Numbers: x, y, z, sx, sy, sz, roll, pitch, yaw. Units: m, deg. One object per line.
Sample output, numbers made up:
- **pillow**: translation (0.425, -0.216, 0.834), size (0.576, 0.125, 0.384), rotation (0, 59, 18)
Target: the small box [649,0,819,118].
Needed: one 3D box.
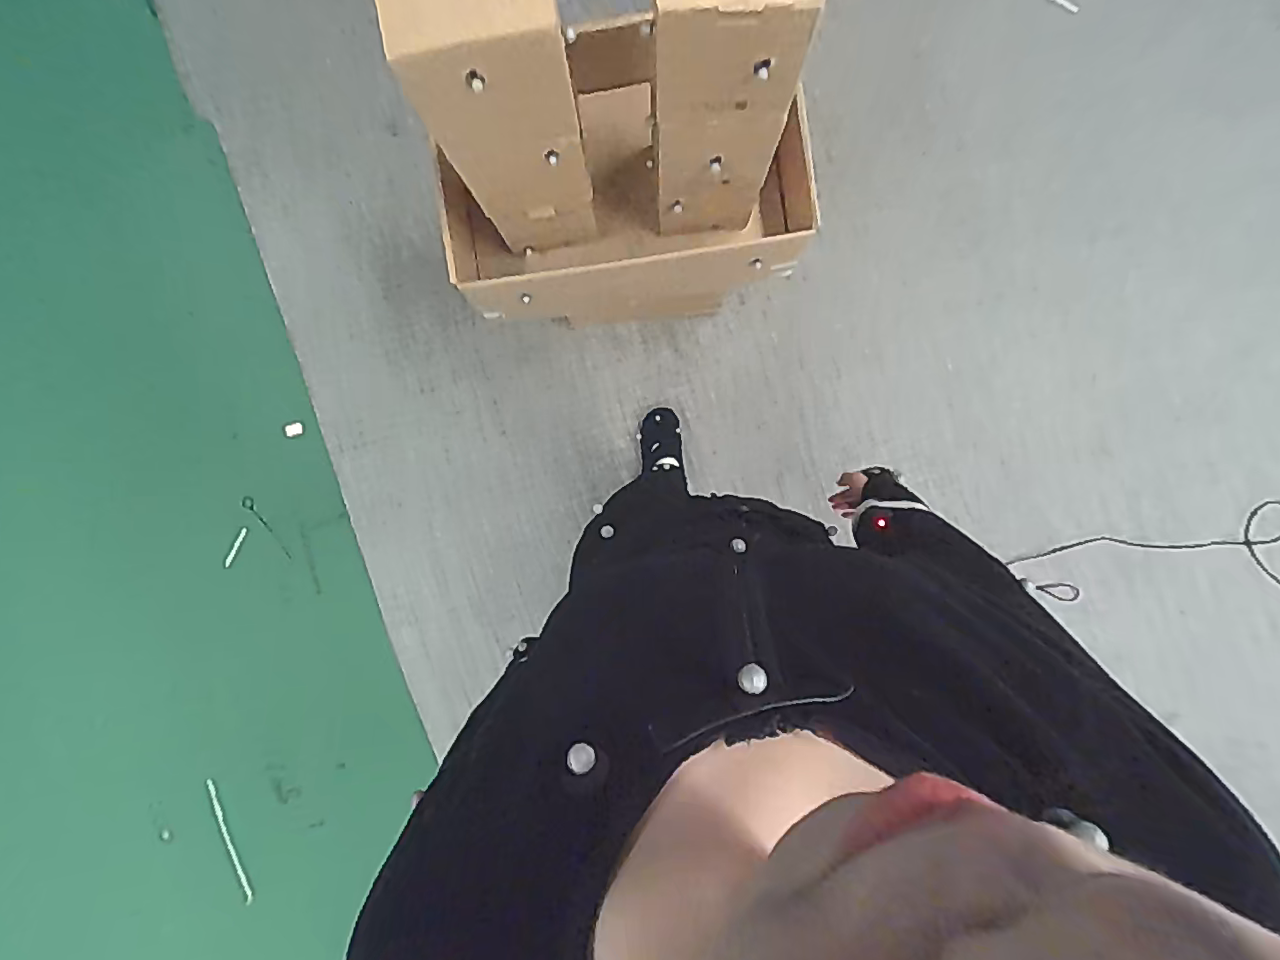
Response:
- **small box**: translation (0.094, -0.536, 0.601), size (0.168, 0.176, 0.179), rotation (-1, 90, 1)

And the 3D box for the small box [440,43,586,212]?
- **small box**: translation (-0.182, -0.510, 0.774), size (0.179, 0.176, 0.168), rotation (-9, 91, 0)

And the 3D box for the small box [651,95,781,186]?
- **small box**: translation (0.099, -0.539, 0.765), size (0.168, 0.176, 0.179), rotation (-2, 92, 1)

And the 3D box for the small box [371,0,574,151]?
- **small box**: translation (-0.181, -0.505, 0.609), size (0.179, 0.176, 0.168), rotation (-10, 91, 0)
